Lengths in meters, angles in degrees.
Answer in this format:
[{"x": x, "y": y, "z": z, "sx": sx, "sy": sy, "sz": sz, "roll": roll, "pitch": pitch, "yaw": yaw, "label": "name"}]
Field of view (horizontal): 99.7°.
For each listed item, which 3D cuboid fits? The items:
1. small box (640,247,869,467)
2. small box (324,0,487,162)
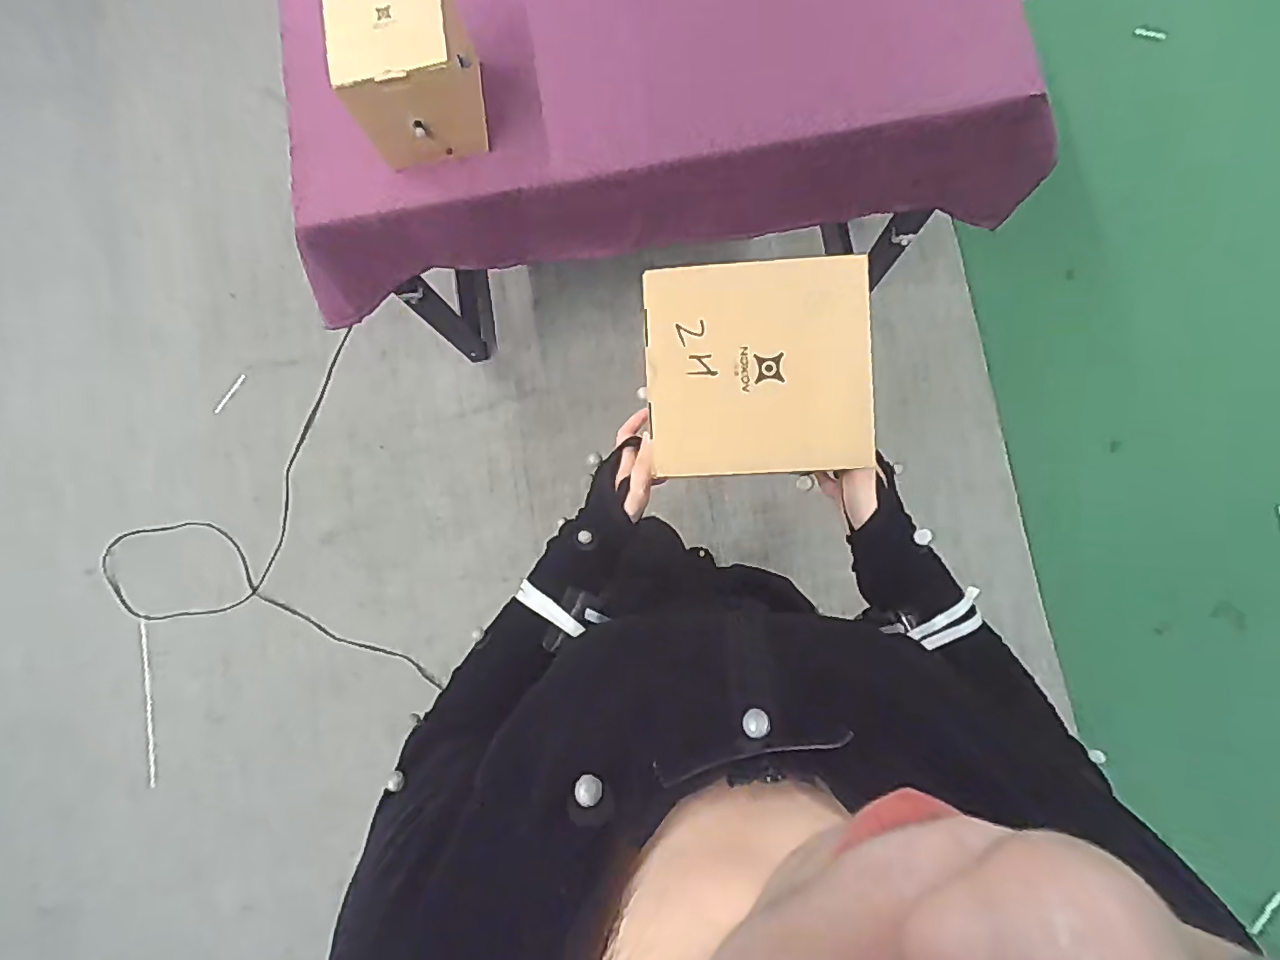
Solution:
[{"x": 0.095, "y": -0.097, "z": 0.501, "sx": 0.179, "sy": 0.176, "sz": 0.168, "roll": -2, "pitch": 90, "yaw": 5, "label": "small box"}, {"x": -0.343, "y": -0.615, "z": 0.817, "sx": 0.168, "sy": 0.176, "sz": 0.179, "roll": -9, "pitch": 83, "yaw": 3, "label": "small box"}]
